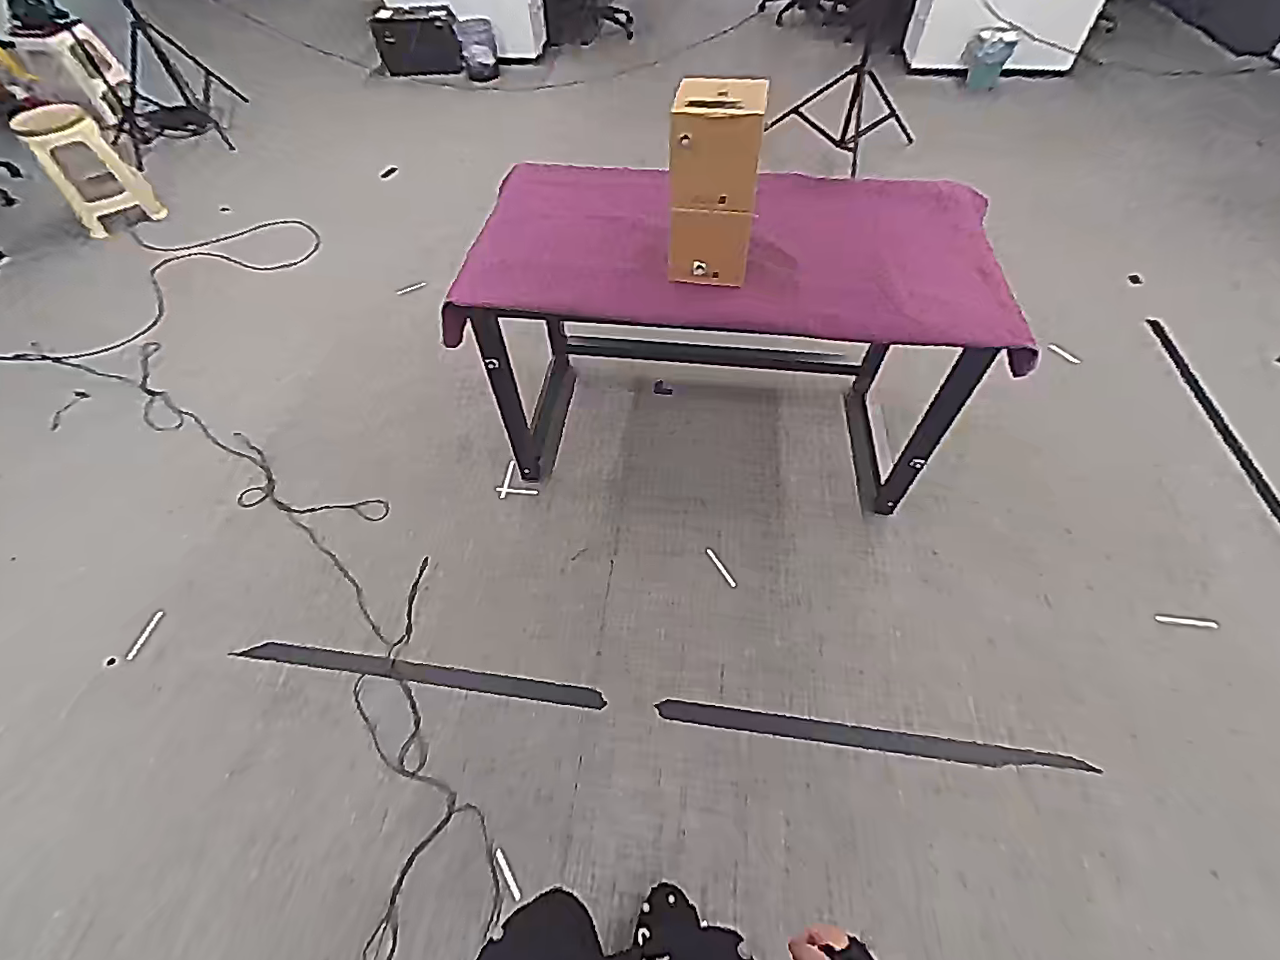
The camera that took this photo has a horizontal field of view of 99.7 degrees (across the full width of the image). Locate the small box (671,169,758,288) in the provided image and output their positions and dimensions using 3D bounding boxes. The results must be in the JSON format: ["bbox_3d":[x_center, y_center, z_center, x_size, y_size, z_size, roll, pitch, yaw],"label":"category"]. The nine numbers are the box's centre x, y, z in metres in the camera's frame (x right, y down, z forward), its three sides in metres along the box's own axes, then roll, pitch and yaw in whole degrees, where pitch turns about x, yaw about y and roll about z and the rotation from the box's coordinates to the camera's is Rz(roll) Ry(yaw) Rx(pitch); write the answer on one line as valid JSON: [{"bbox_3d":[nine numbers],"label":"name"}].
[{"bbox_3d":[0.160,-0.548,1.179,0.168,0.176,0.179,7,55,7],"label":"small box"}]
